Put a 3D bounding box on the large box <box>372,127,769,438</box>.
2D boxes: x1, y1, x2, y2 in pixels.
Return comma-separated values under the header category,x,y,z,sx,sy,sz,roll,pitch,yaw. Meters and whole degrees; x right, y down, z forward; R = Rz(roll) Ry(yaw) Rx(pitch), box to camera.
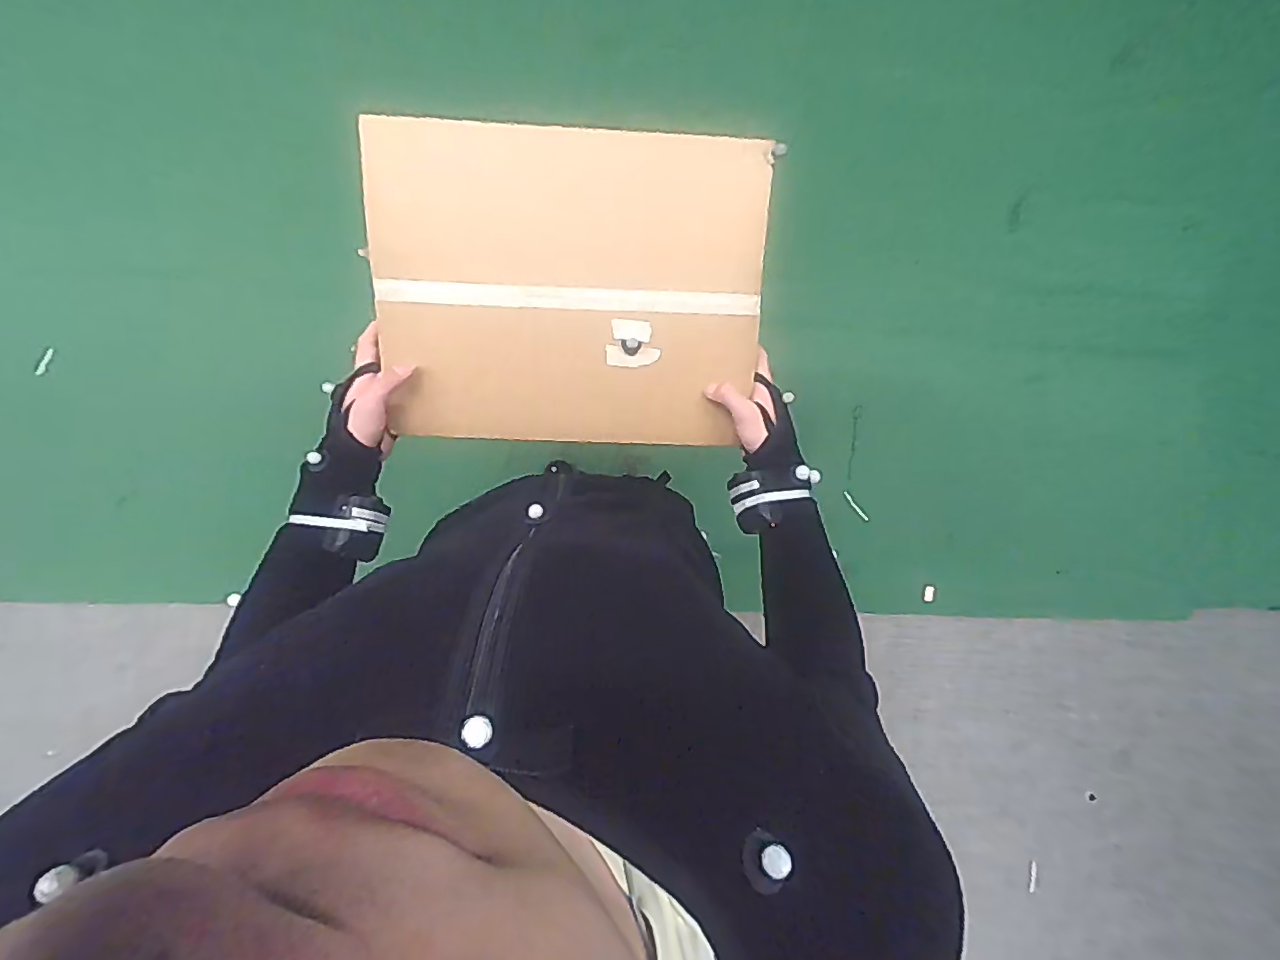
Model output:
category,x,y,z,sx,sy,sz,roll,pitch,yaw
large box,-0.078,-0.239,0.722,0.408,0.320,0.320,1,108,-4
